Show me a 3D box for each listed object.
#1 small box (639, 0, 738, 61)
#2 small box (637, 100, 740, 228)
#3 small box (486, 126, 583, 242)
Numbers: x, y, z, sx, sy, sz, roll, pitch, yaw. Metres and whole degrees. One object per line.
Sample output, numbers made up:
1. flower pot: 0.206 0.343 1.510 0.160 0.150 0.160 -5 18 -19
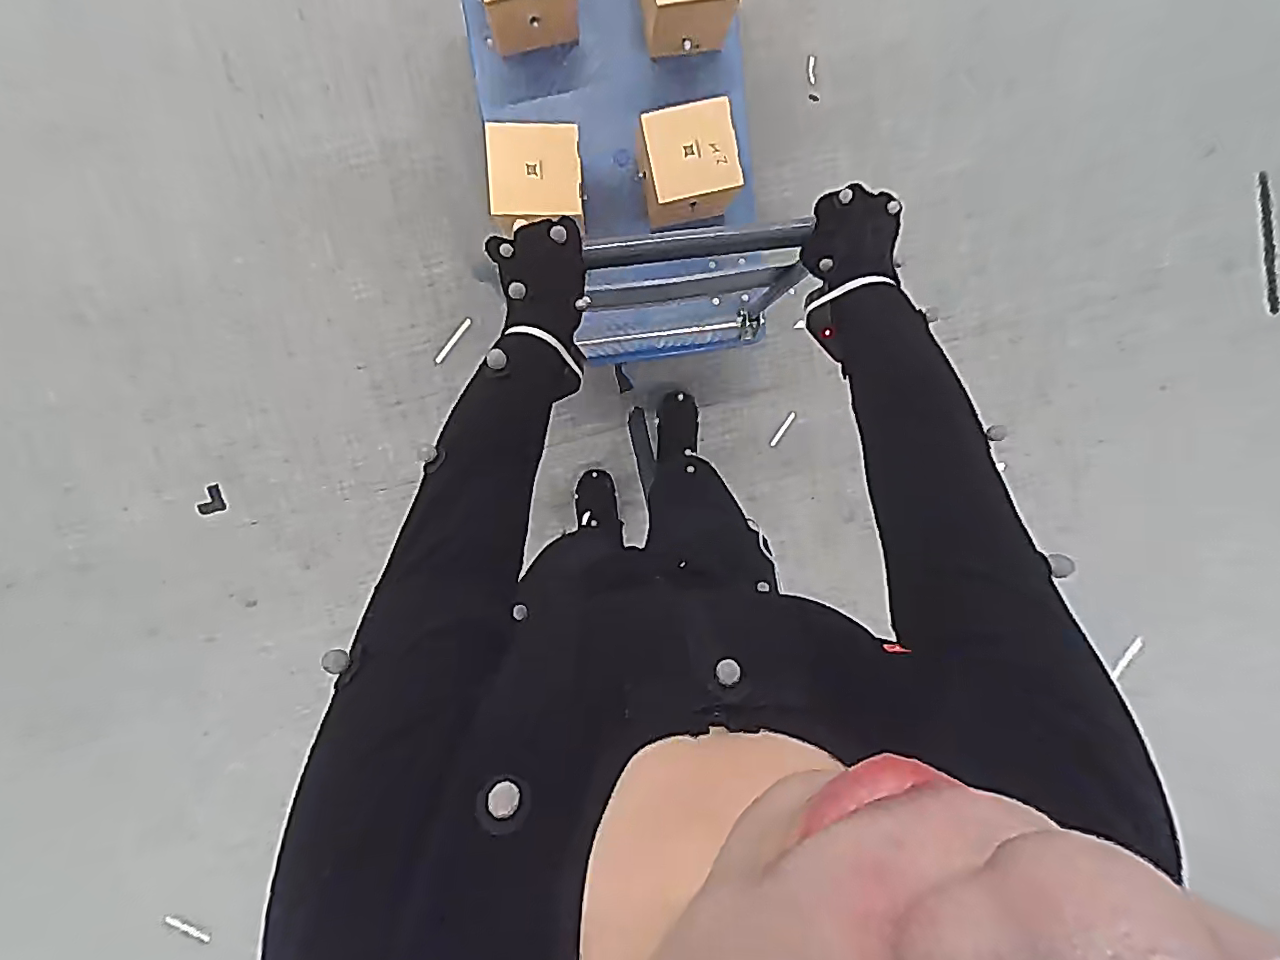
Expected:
1. small box: 0.088 -0.988 1.079 0.168 0.176 0.179 -10 100 -3
2. small box: 0.093 -0.648 1.130 0.179 0.176 0.168 -13 99 -2
3. small box: -0.209 -0.601 1.116 0.179 0.176 0.168 -3 98 -5
